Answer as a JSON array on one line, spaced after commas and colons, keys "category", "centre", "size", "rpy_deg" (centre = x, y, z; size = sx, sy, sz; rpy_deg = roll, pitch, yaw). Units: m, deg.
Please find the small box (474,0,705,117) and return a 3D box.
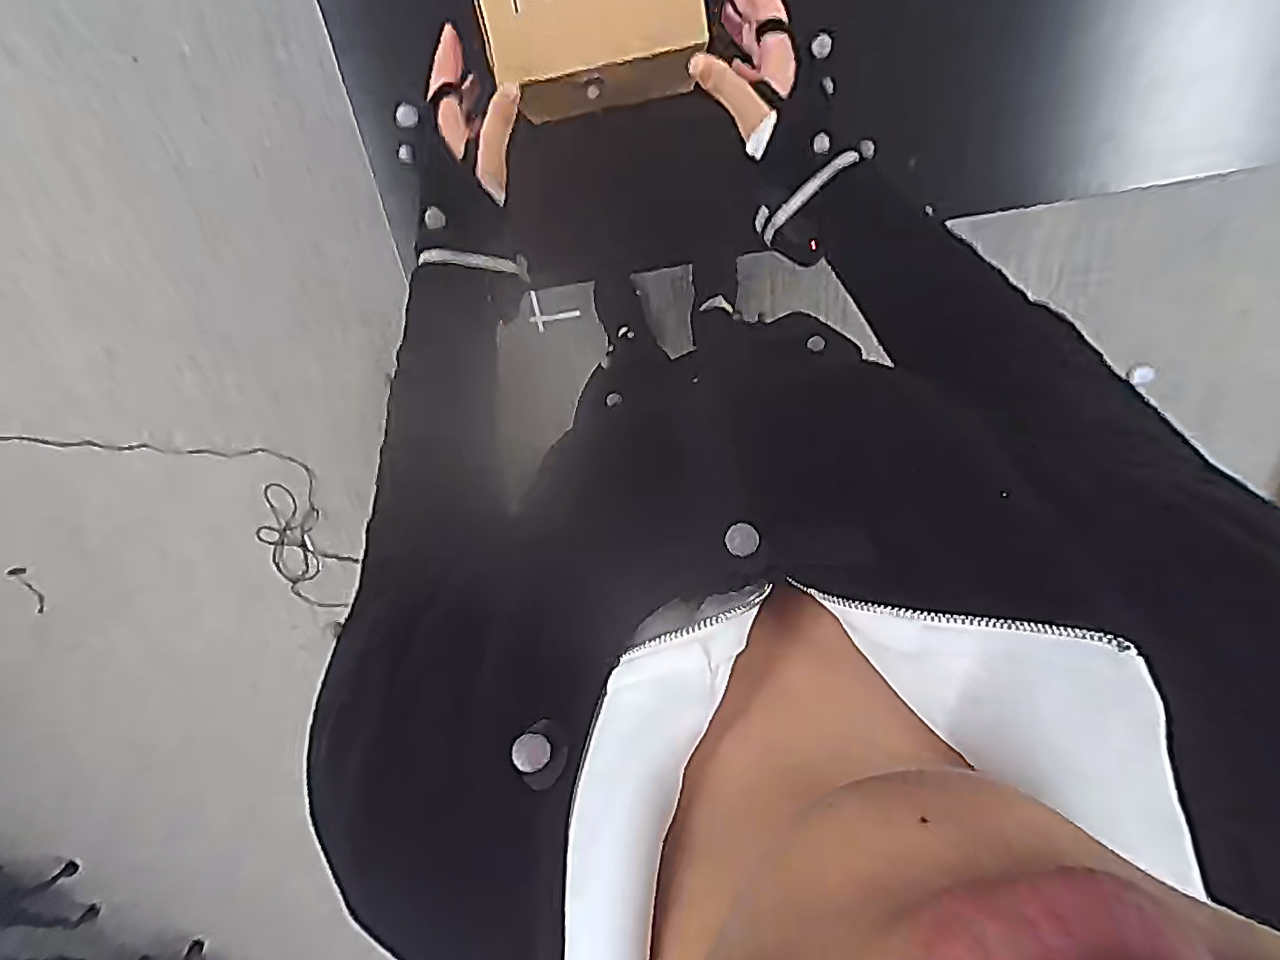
[{"category": "small box", "centre": [-0.045, -0.438, 0.468], "size": [0.179, 0.176, 0.168], "rpy_deg": [-9, 115, 4]}]
